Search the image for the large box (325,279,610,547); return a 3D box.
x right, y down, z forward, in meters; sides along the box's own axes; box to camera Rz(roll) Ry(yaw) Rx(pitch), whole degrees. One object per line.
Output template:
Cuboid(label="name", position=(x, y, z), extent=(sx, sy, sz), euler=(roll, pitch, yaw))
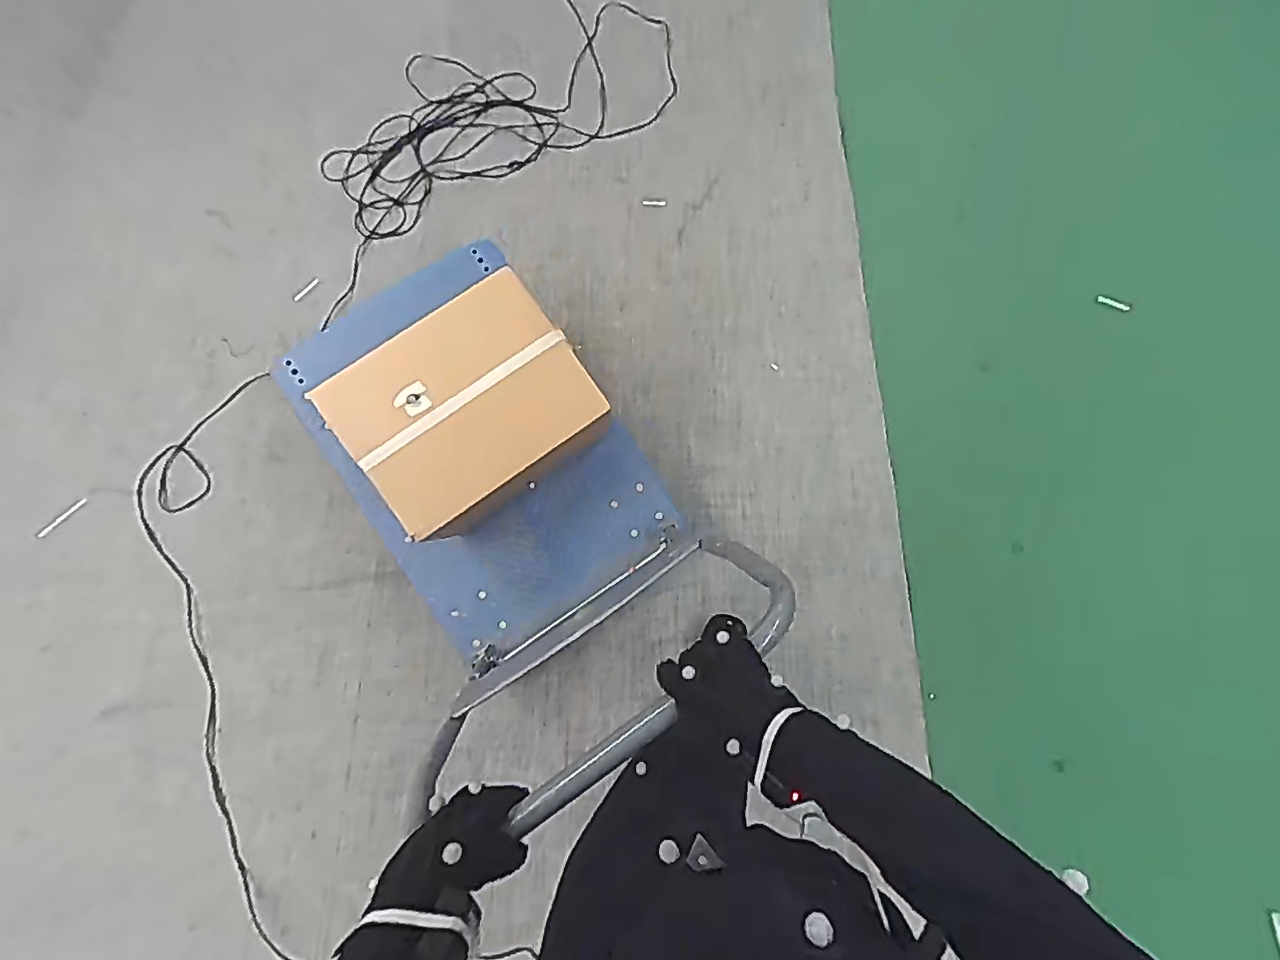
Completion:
Cuboid(label="large box", position=(-0.308, -0.115, 1.093), extent=(0.408, 0.320, 0.320), euler=(-36, 89, -5))
